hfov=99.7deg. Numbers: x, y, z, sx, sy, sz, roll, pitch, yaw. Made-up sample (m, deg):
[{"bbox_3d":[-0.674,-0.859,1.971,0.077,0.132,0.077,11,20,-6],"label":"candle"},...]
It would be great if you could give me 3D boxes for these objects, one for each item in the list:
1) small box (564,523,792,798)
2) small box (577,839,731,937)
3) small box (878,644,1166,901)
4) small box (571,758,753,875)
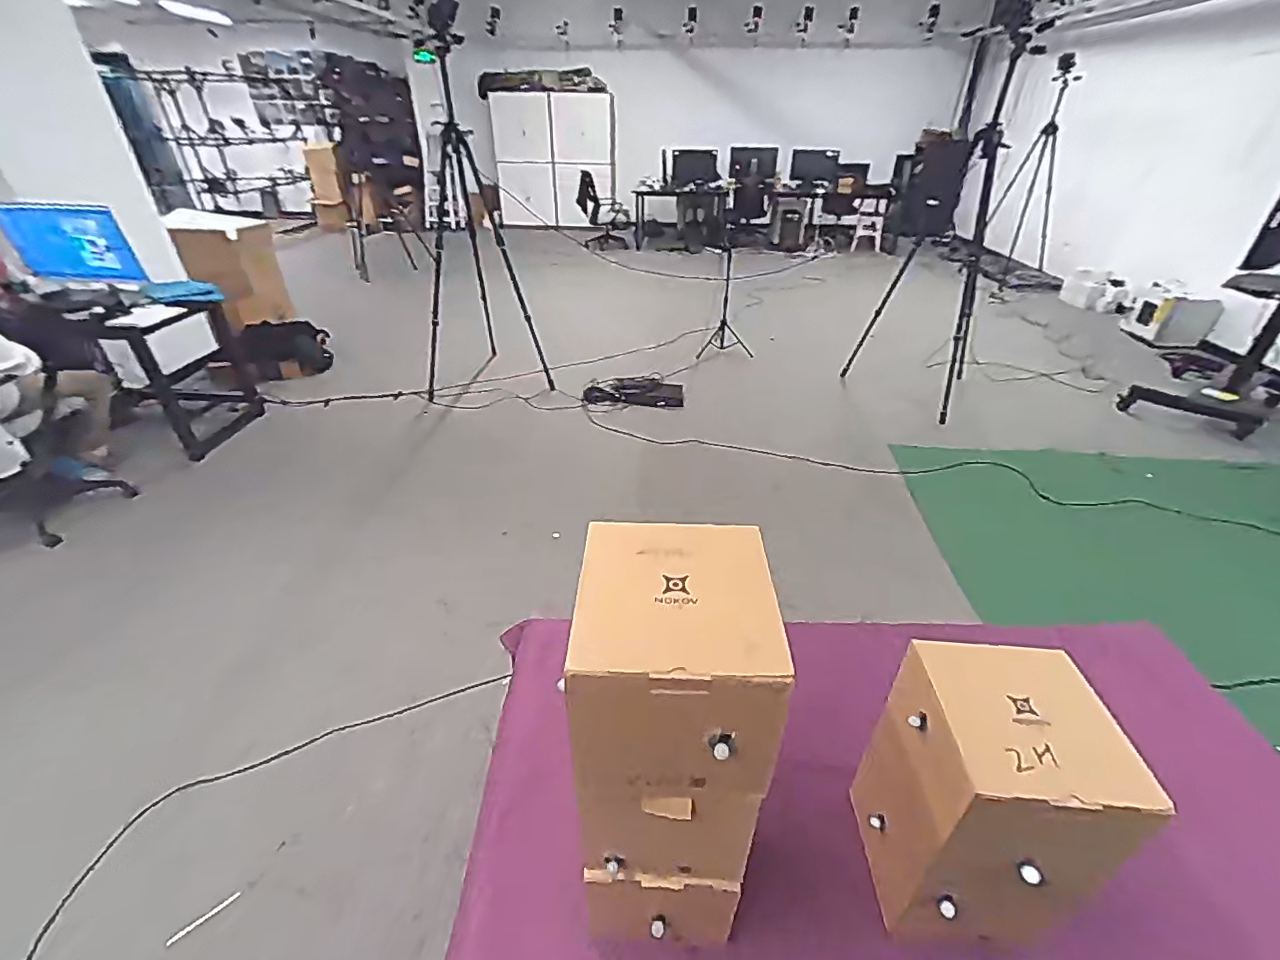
[{"bbox_3d":[0.030,0.161,0.494,0.168,0.176,0.179,3,34,1],"label":"small box"},{"bbox_3d":[0.020,0.434,0.674,0.168,0.176,0.179,4,35,2],"label":"small box"},{"bbox_3d":[0.376,0.307,0.580,0.168,0.176,0.179,4,34,5],"label":"small box"},{"bbox_3d":[0.026,0.294,0.588,0.168,0.176,0.179,4,33,3],"label":"small box"}]
